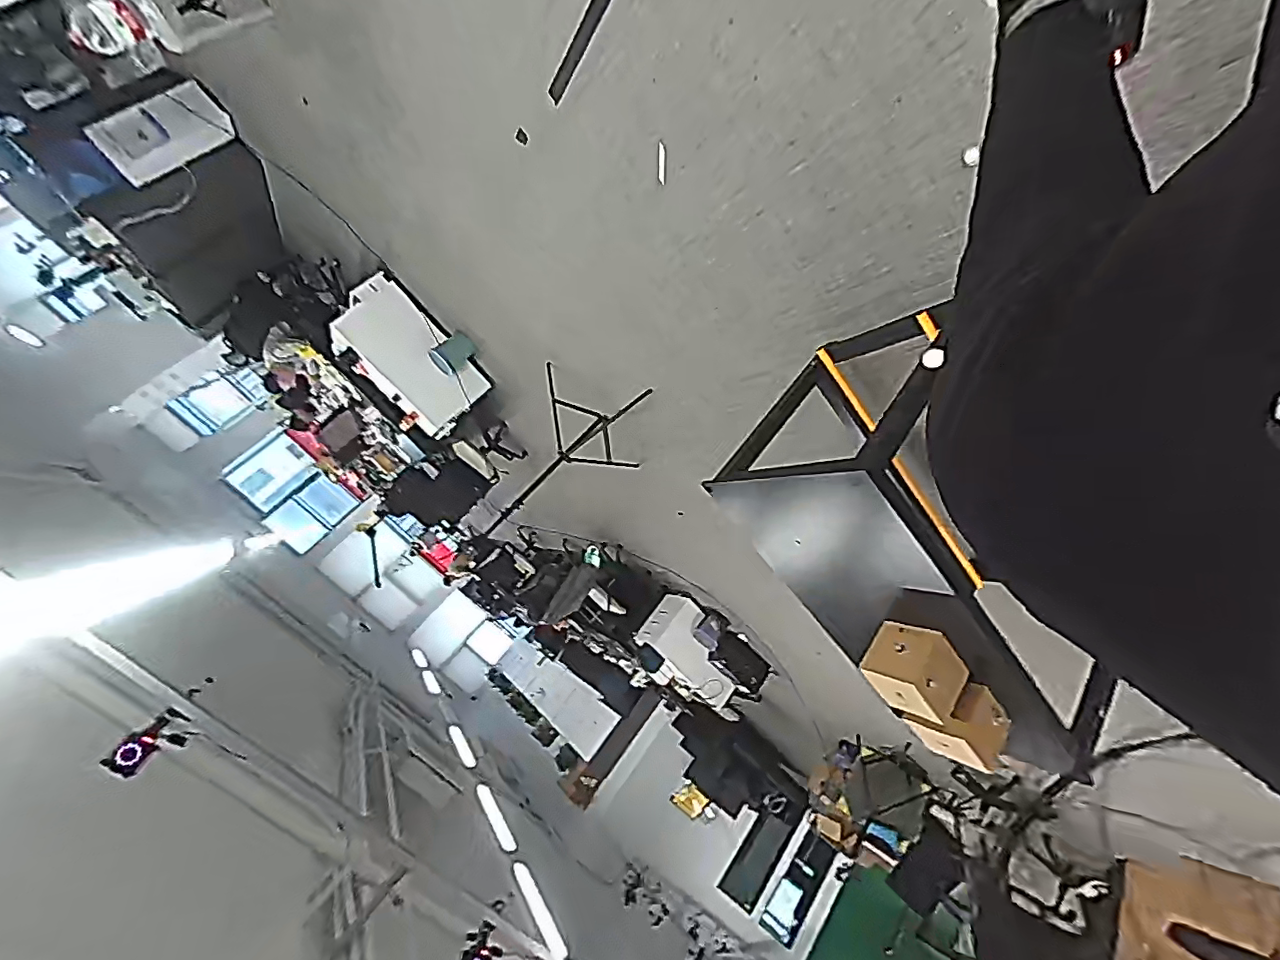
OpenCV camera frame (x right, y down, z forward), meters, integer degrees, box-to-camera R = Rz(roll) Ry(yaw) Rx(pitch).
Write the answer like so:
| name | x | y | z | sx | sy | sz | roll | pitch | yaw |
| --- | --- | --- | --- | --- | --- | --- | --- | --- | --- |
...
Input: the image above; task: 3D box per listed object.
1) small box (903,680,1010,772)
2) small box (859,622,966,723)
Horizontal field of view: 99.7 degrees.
| name | x | y | z | sx | sy | sz | roll | pitch | yaw |
| --- | --- | --- | --- | --- | --- | --- | --- | --- | --- |
| small box | 0.881 | 0.661 | 1.504 | 0.168 | 0.176 | 0.179 | 47 | 157 | -17 |
| small box | 0.733 | 0.506 | 1.450 | 0.179 | 0.176 | 0.168 | 48 | 158 | -18 |
